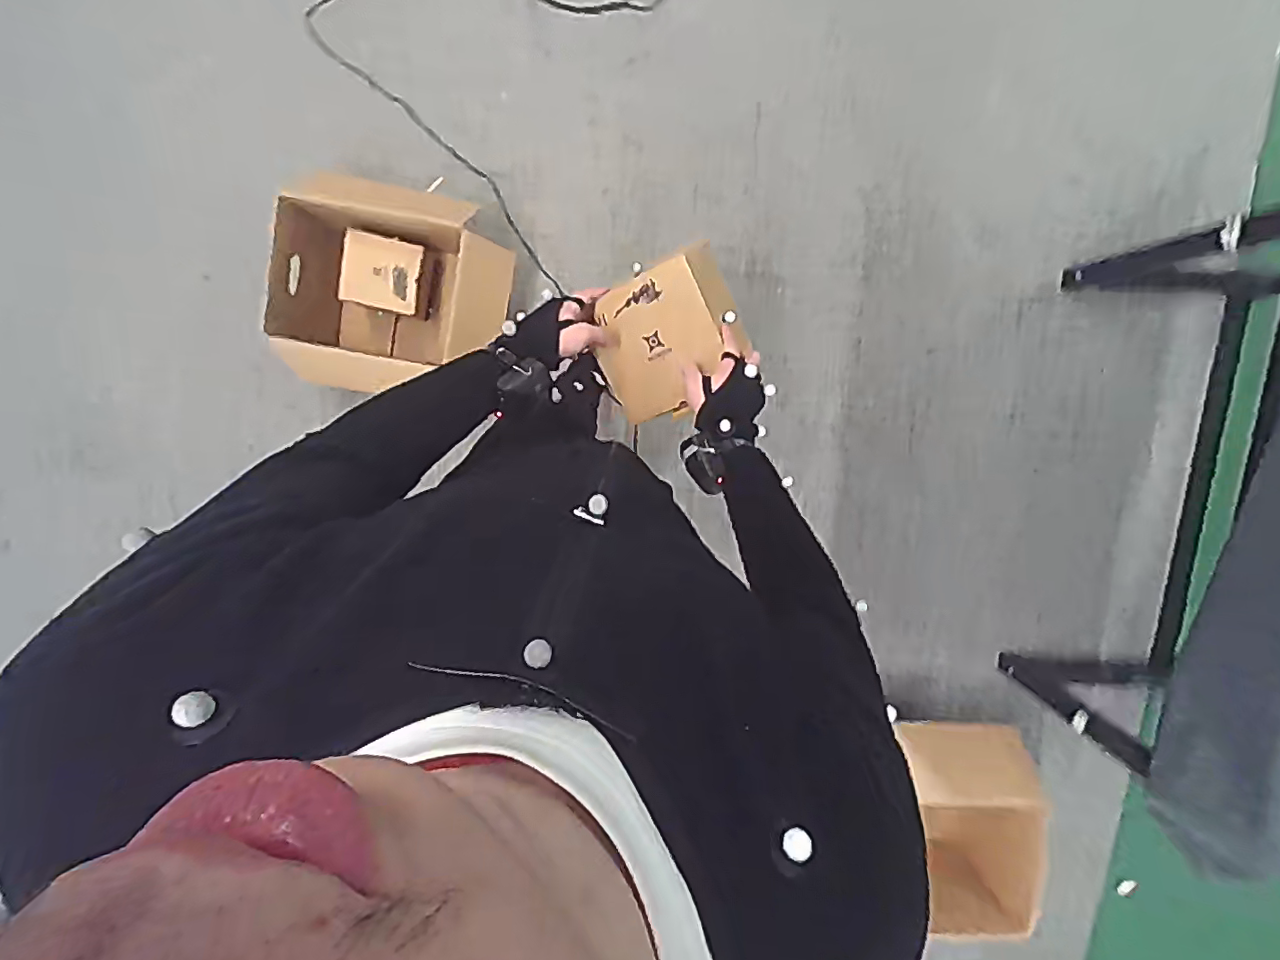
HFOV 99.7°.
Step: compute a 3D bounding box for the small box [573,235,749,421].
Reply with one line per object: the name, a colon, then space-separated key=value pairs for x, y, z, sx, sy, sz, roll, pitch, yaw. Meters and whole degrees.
small box: x=0.042 y=-0.213 z=0.748 sx=0.168 sy=0.176 sz=0.179 roll=-18 pitch=113 yaw=26
